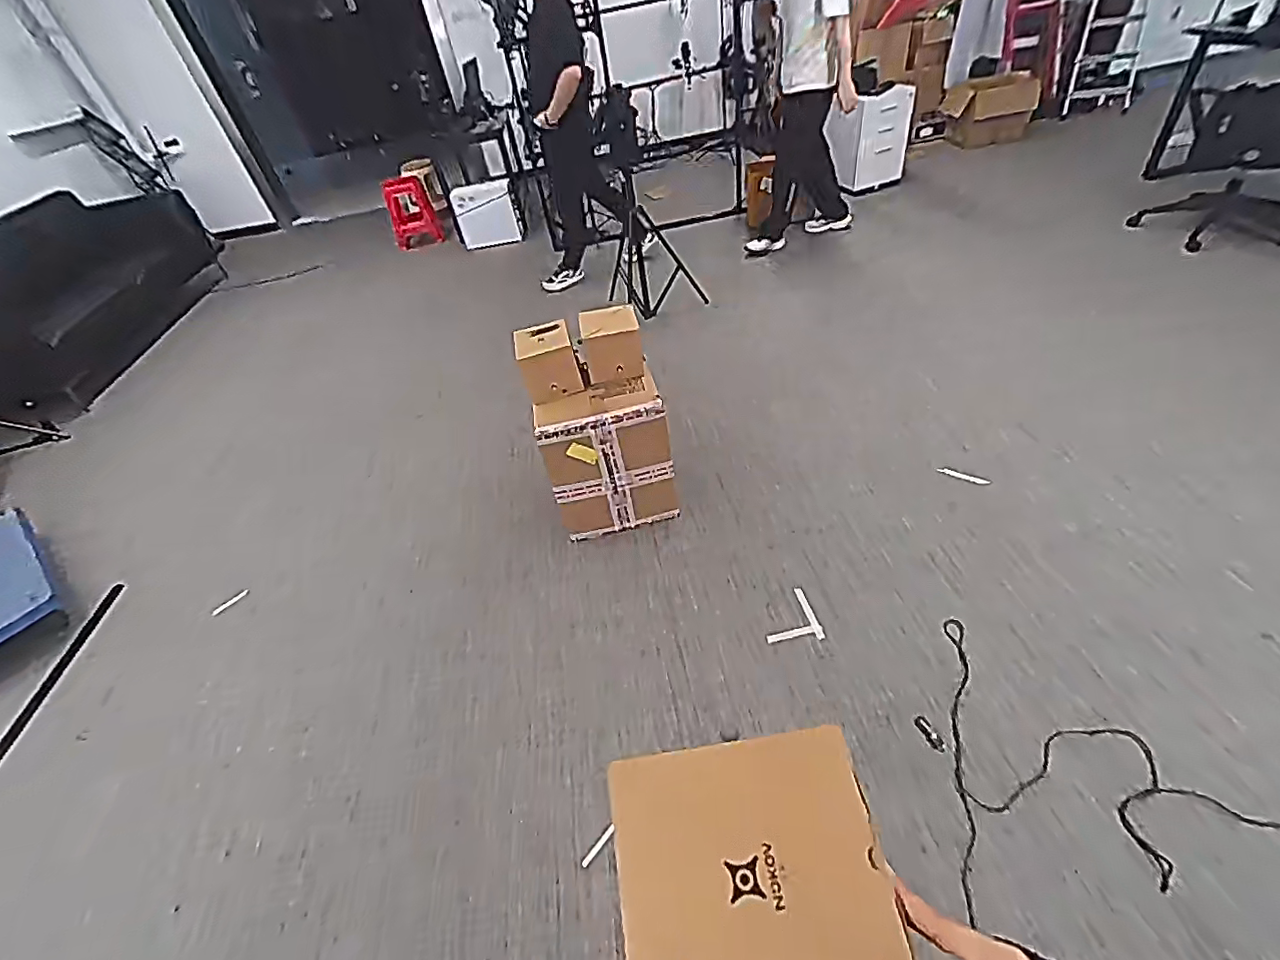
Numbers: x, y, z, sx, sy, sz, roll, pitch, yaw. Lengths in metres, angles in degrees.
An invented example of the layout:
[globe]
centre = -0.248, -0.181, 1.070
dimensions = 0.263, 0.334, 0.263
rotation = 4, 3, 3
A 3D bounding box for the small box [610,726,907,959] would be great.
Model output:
[small box]
centre = 0.081, 0.311, 0.428
dimensions = 0.179, 0.176, 0.168
rotation = -10, 55, 0
